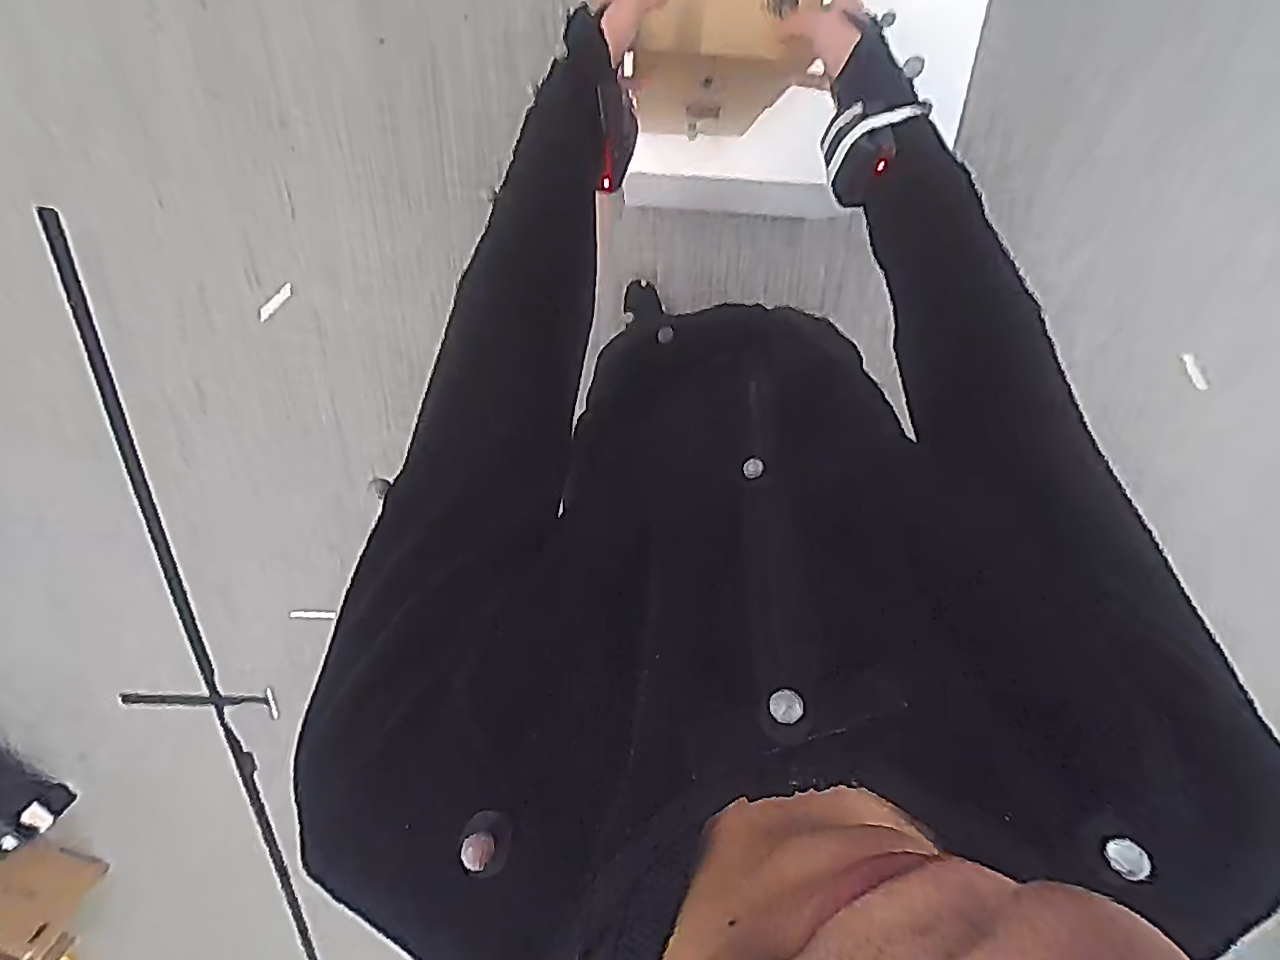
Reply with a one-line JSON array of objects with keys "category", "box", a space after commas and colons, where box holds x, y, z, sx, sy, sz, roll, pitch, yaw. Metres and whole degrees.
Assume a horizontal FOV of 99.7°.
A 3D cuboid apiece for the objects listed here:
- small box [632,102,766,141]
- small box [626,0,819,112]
[{"category": "small box", "box": [0.076, -0.565, 0.705, 0.168, 0.176, 0.179, 1, 112, -1]}, {"category": "small box", "box": [0.076, -0.497, 0.554, 0.179, 0.176, 0.168, 2, 112, -1]}]
